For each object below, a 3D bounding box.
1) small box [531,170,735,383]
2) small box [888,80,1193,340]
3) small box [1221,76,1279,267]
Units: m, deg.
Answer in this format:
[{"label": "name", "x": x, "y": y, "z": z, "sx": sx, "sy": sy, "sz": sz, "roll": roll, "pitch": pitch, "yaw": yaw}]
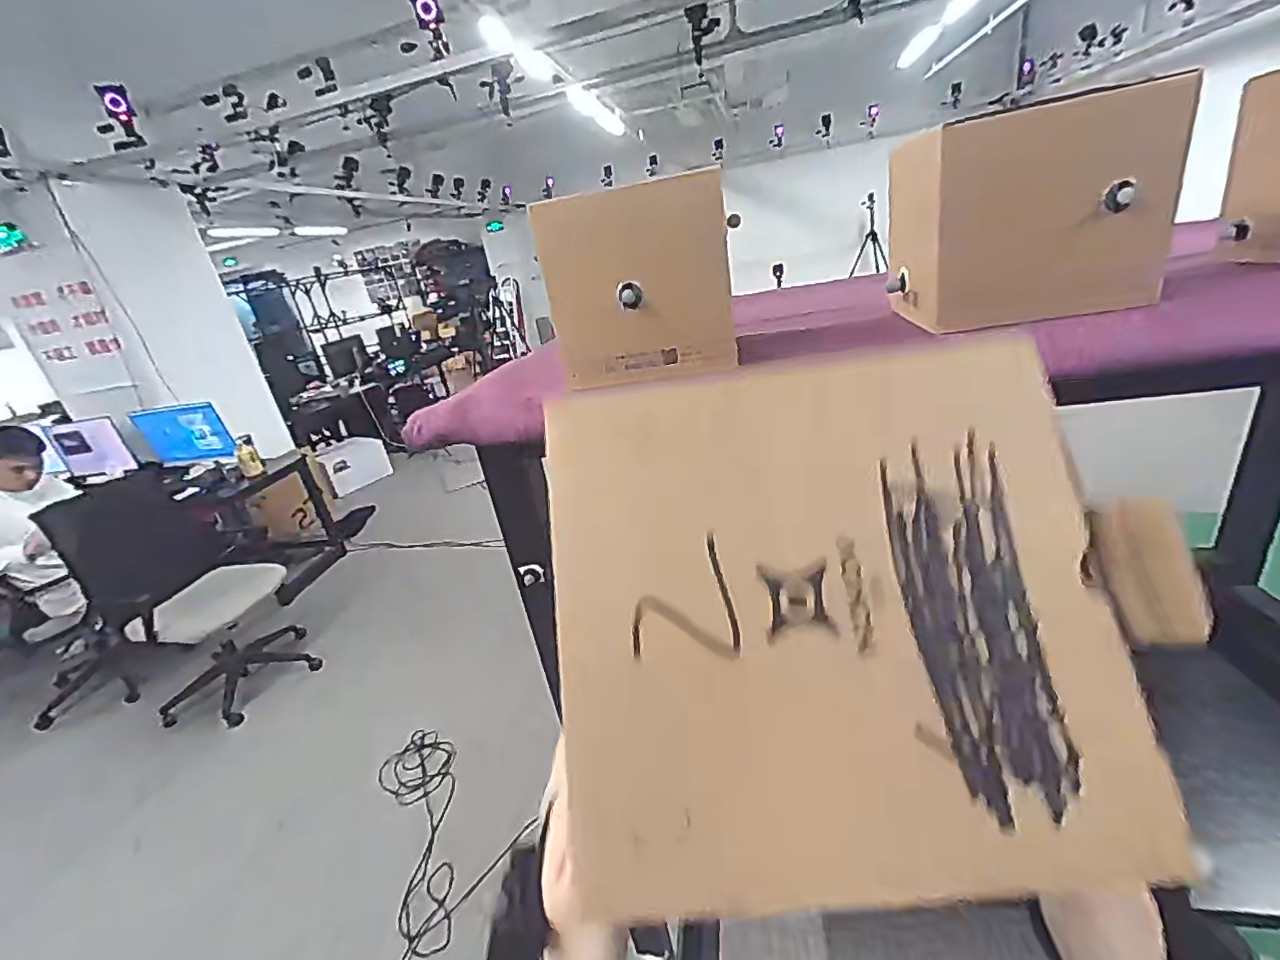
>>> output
[{"label": "small box", "x": 0.008, "y": -0.202, "z": 0.558, "sx": 0.168, "sy": 0.176, "sz": 0.179, "roll": -5, "pitch": 24, "yaw": 11}, {"label": "small box", "x": 0.345, "y": -0.240, "z": 0.512, "sx": 0.179, "sy": 0.176, "sz": 0.168, "roll": -6, "pitch": 23, "yaw": 12}, {"label": "small box", "x": 0.663, "y": -0.282, "z": 0.463, "sx": 0.179, "sy": 0.176, "sz": 0.168, "roll": -4, "pitch": 21, "yaw": 15}]
